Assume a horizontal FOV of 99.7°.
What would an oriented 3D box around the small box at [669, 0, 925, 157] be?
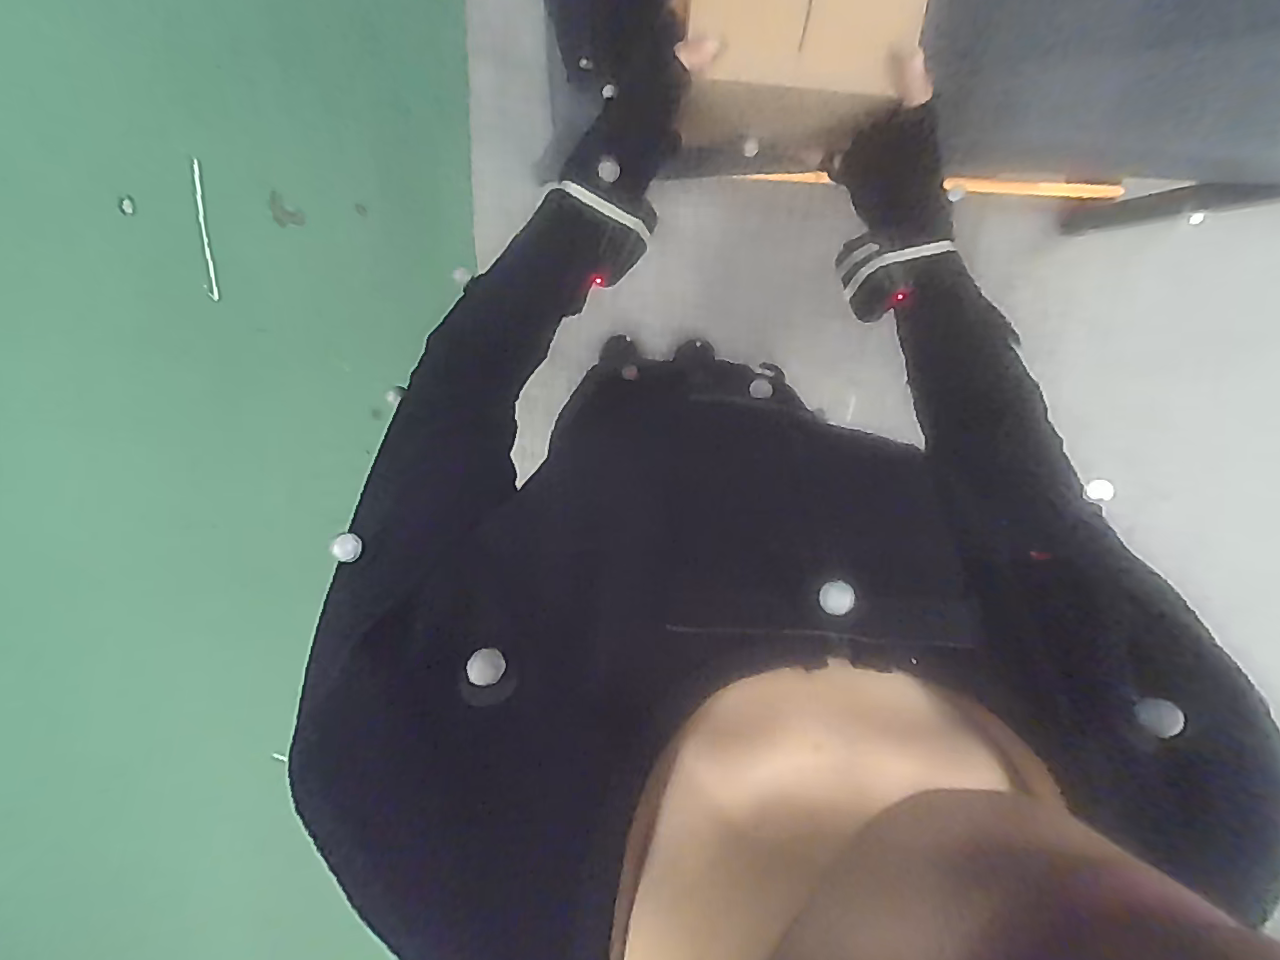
[{"bbox_3d":[0.116,-0.388,0.437,0.168,0.176,0.179,4,108,-3],"label":"small box"}]
